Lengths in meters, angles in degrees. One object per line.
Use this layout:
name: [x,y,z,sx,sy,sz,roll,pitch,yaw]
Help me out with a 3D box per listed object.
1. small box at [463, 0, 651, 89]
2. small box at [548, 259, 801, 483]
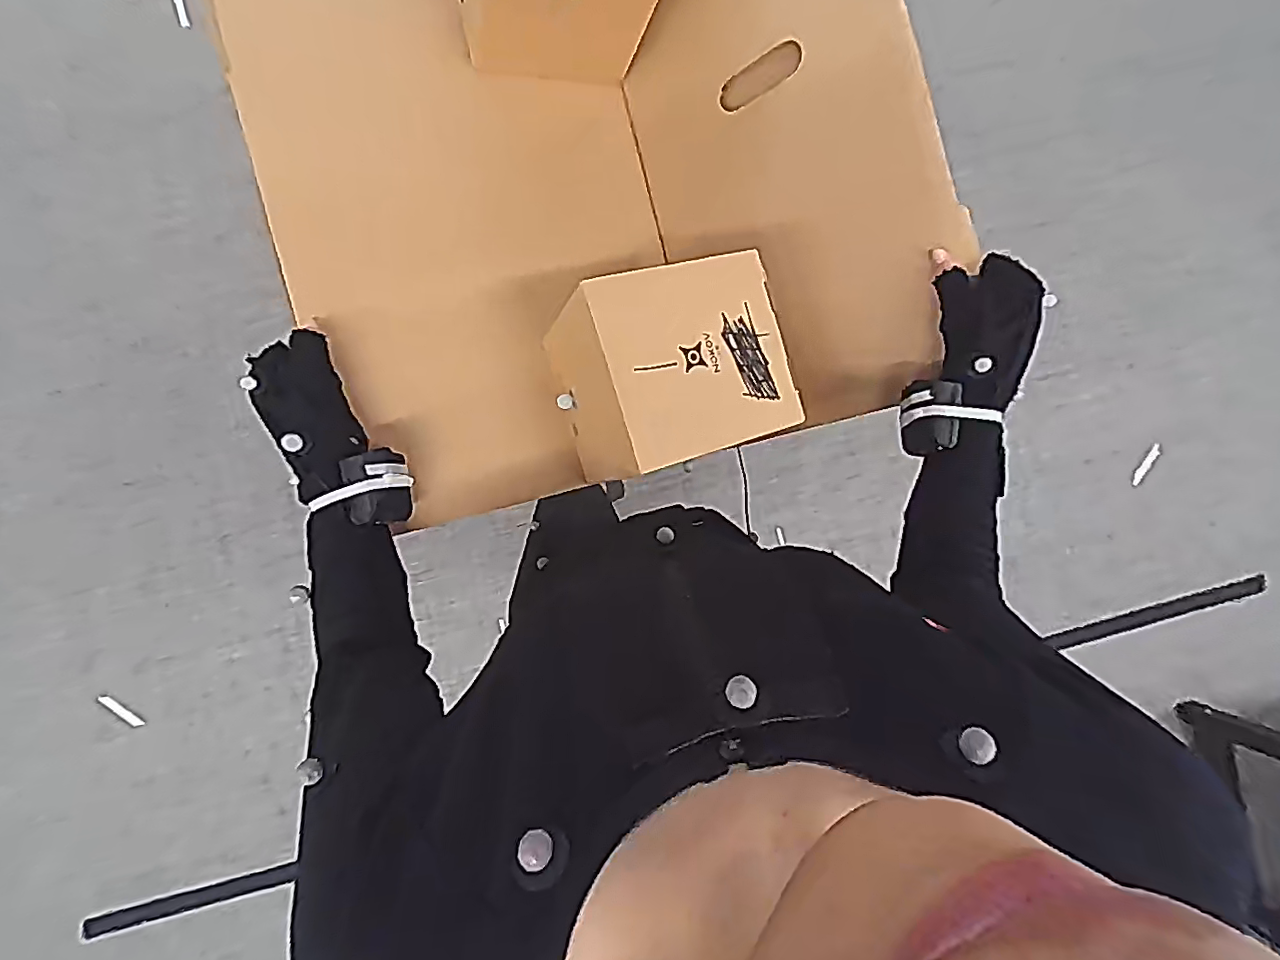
small box: [-0.087,-0.531,0.539,0.179,0.176,0.168,-11,90,-22]
small box: [0.025,-0.099,0.547,0.179,0.176,0.168,-18,93,-21]
